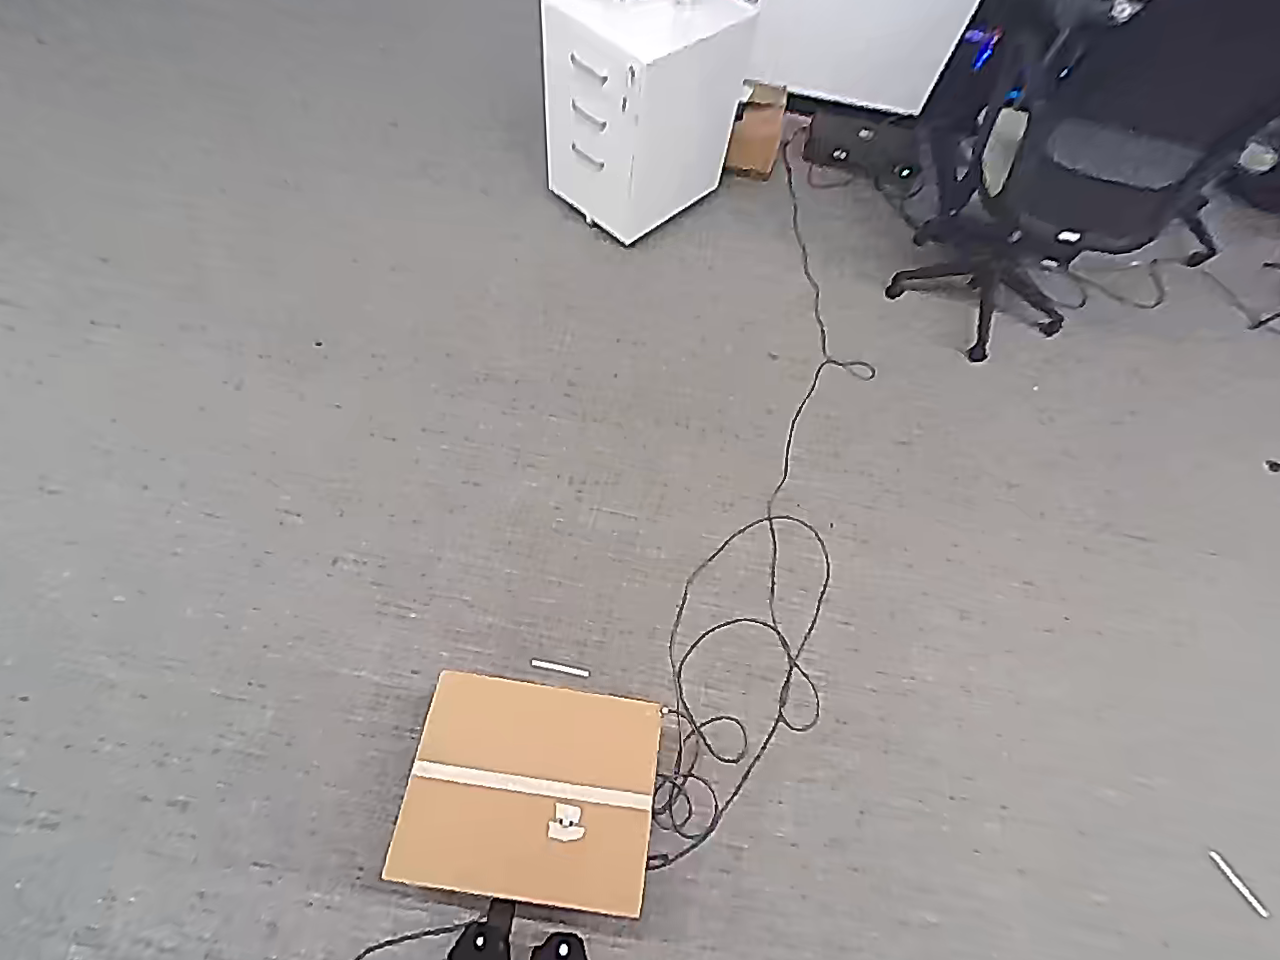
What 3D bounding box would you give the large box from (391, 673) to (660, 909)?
[{"bbox_3d":[-0.194,0.582,1.046,0.408,0.320,0.320,10,63,-2],"label":"large box"}]
